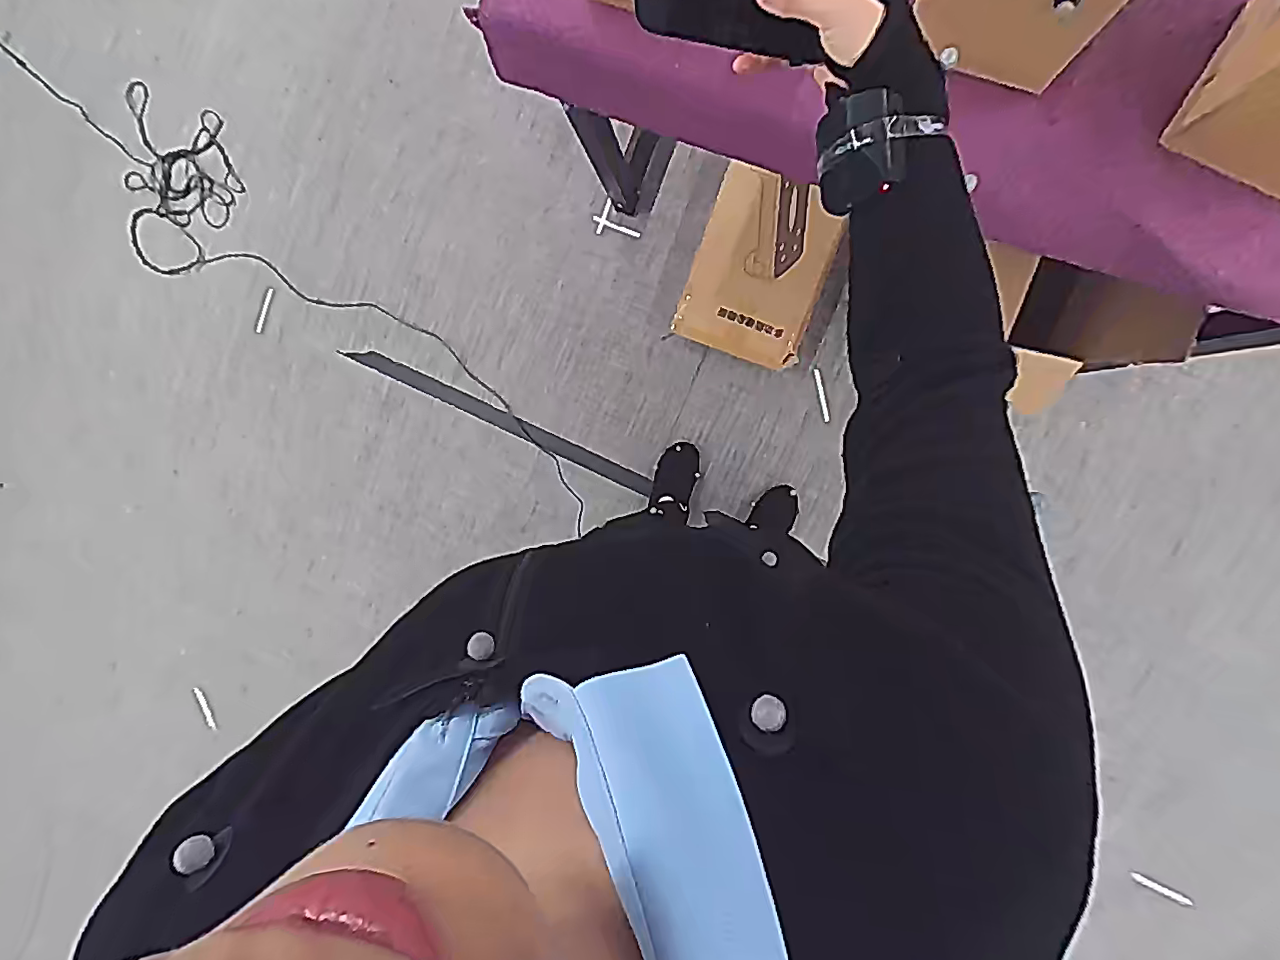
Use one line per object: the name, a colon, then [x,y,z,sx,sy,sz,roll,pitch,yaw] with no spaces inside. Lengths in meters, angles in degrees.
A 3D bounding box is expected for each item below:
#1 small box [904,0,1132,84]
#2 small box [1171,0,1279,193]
small box: [0.405,-0.546,0.542,0.179,0.176,0.168,22,96,6]
small box: [0.689,-0.406,0.515,0.179,0.176,0.168,29,99,4]
